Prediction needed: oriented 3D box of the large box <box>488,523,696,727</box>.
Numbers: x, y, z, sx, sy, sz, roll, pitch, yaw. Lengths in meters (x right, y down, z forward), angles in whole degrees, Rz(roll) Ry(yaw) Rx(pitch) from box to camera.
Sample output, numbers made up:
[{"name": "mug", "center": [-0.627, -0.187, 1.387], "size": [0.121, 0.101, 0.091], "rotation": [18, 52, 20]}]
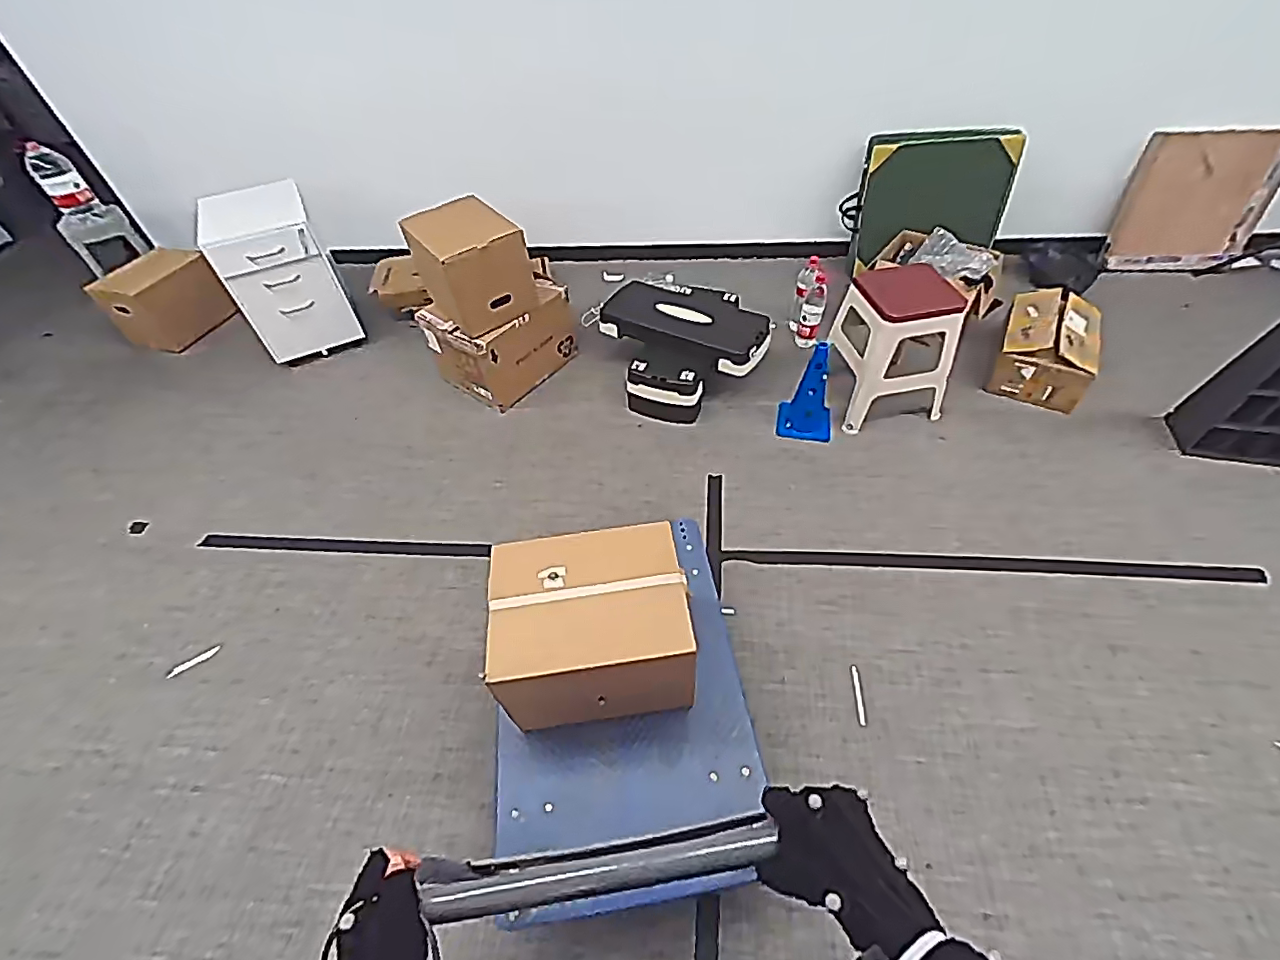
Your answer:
[{"name": "large box", "center": [-0.100, 0.335, 1.232], "size": [0.408, 0.320, 0.320], "rotation": [-8, 50, -2]}]
